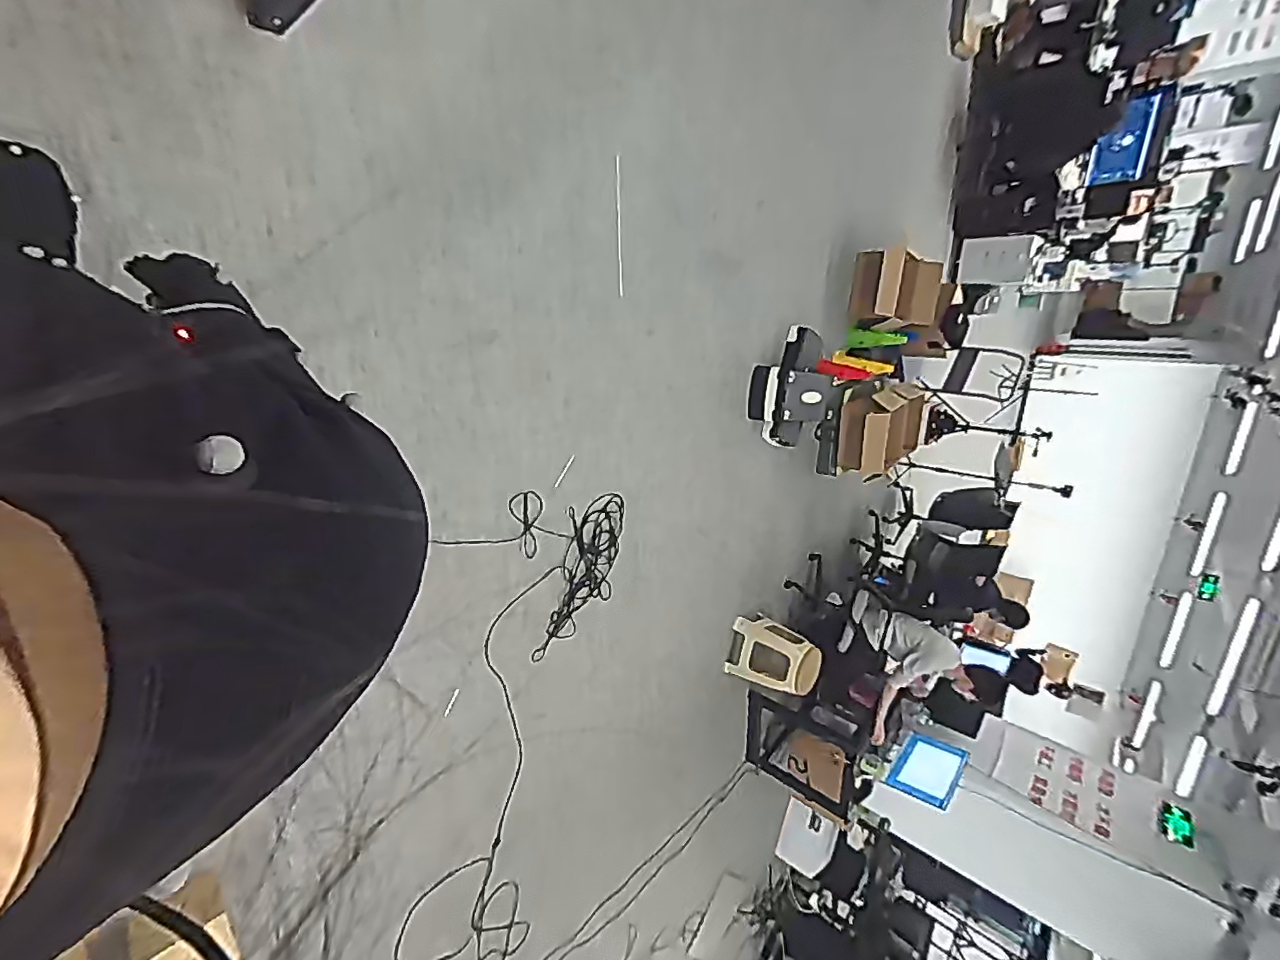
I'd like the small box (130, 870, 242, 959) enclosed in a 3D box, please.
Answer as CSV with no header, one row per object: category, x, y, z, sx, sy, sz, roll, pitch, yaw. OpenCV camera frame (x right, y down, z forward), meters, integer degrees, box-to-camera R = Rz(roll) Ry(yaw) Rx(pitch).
small box,-1.089,1.088,1.297,0.168,0.176,0.179,-17,114,-45

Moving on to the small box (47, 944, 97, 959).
small box,-1.247,1.138,1.134,0.168,0.176,0.179,-20,116,-44
